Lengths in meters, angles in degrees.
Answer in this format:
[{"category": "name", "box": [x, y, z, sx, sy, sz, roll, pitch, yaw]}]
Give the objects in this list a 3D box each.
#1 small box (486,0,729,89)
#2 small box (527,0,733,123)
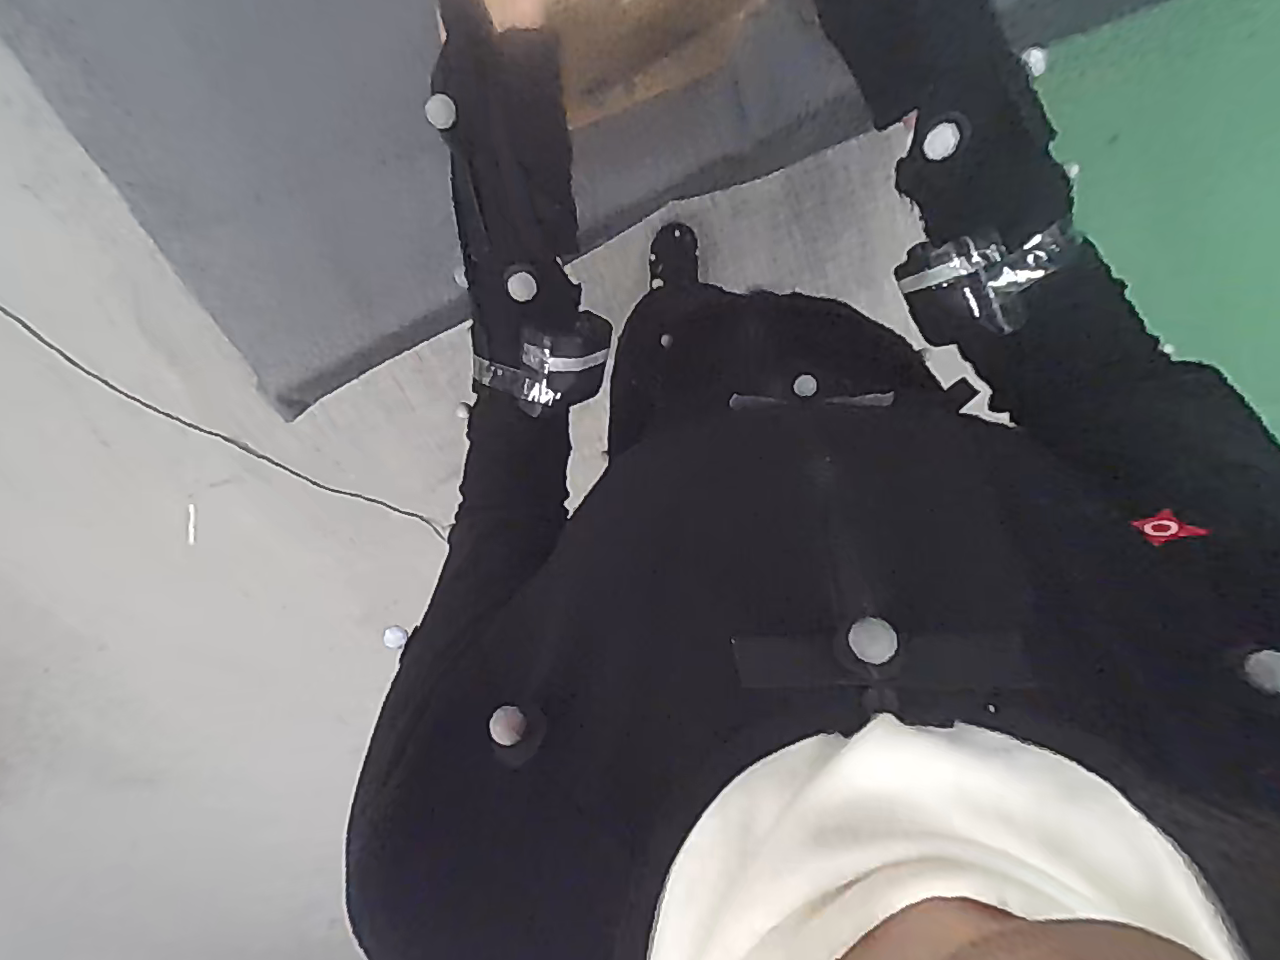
[{"category": "small box", "box": [-0.028, -0.350, 0.292, 0.168, 0.176, 0.179, -25, 111, 12]}, {"category": "small box", "box": [-0.026, -0.428, 0.440, 0.179, 0.176, 0.168, -21, 110, 9]}]
